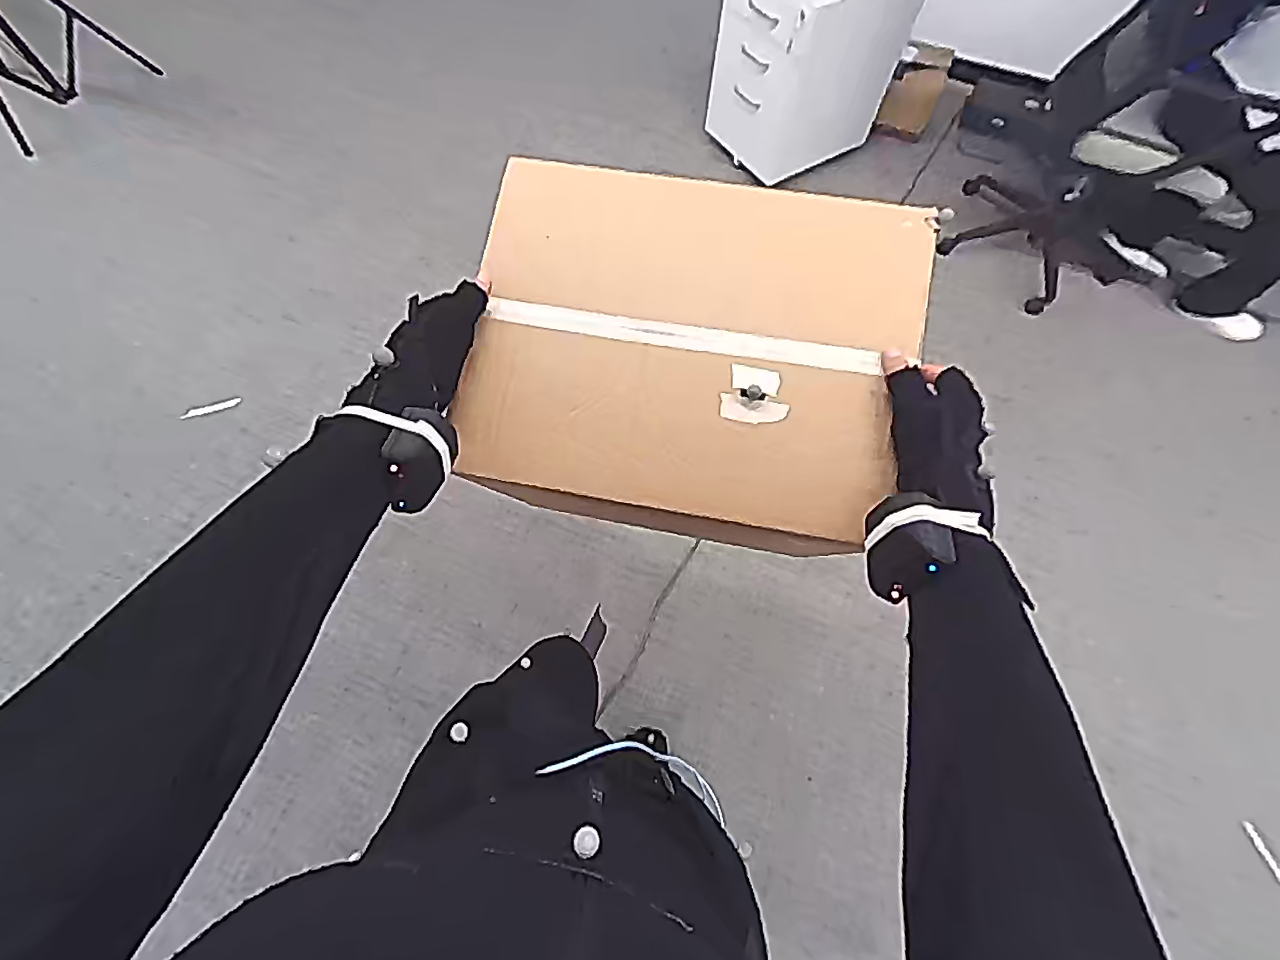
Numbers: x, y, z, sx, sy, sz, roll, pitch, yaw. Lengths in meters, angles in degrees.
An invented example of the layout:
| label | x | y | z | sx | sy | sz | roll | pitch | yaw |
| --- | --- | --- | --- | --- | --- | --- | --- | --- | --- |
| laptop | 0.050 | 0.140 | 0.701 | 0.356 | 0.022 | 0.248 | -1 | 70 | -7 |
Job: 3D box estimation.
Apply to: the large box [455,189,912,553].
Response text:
| label | x | y | z | sx | sy | sz | roll | pitch | yaw |
| --- | --- | --- | --- | --- | --- | --- | --- | --- | --- |
| large box | 0.048 | -0.096 | 0.660 | 0.408 | 0.320 | 0.320 | 10 | 83 | 4 |
